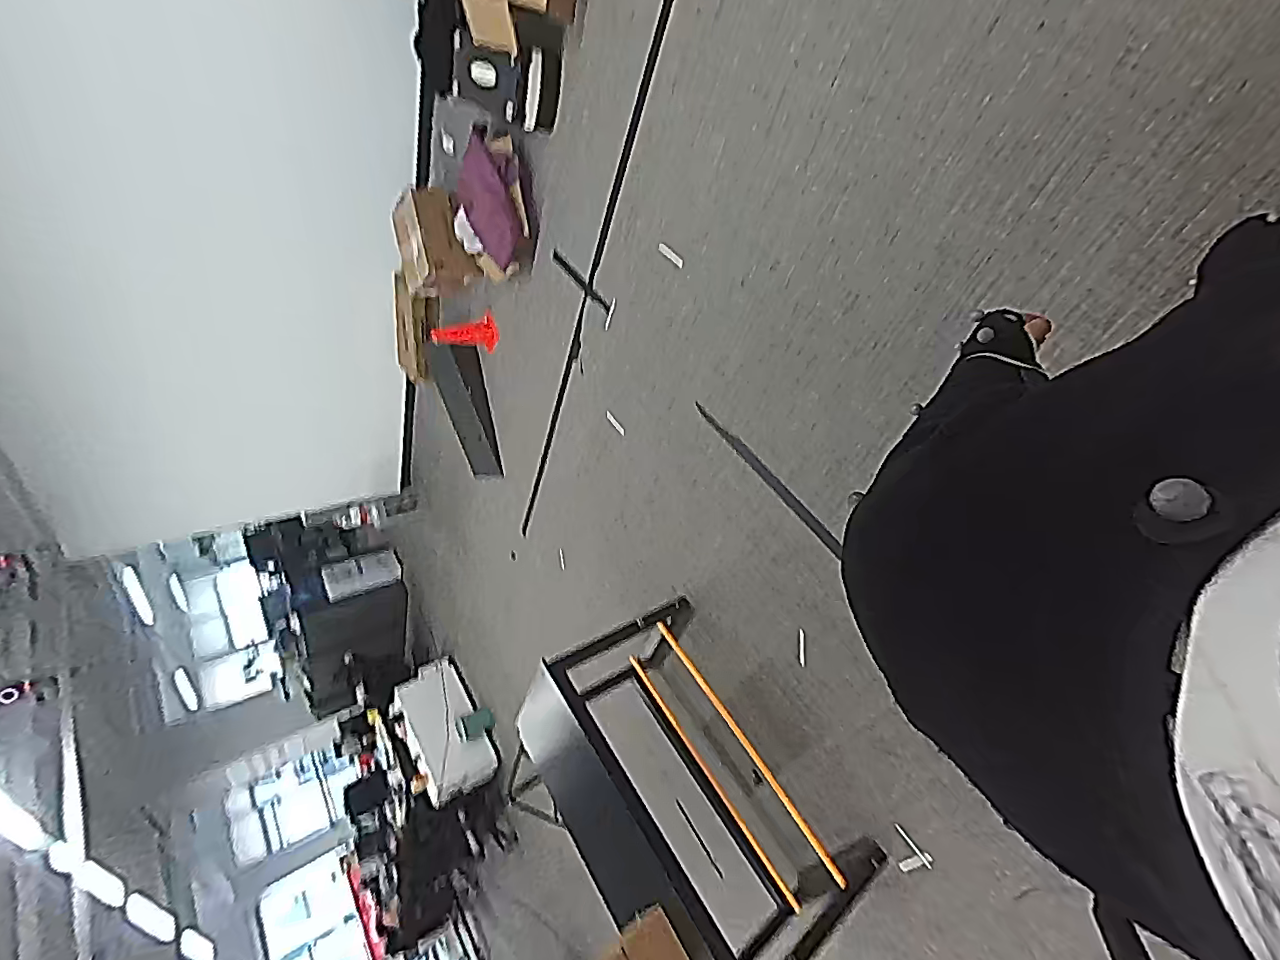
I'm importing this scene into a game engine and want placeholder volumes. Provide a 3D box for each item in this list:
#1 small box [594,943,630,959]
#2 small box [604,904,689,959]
[{"bbox_3d":[-0.099,1.476,1.540,0.168,0.176,0.179,50,135,27],"label":"small box"},{"bbox_3d":[0.024,1.442,1.641,0.179,0.176,0.168,53,137,28],"label":"small box"}]
